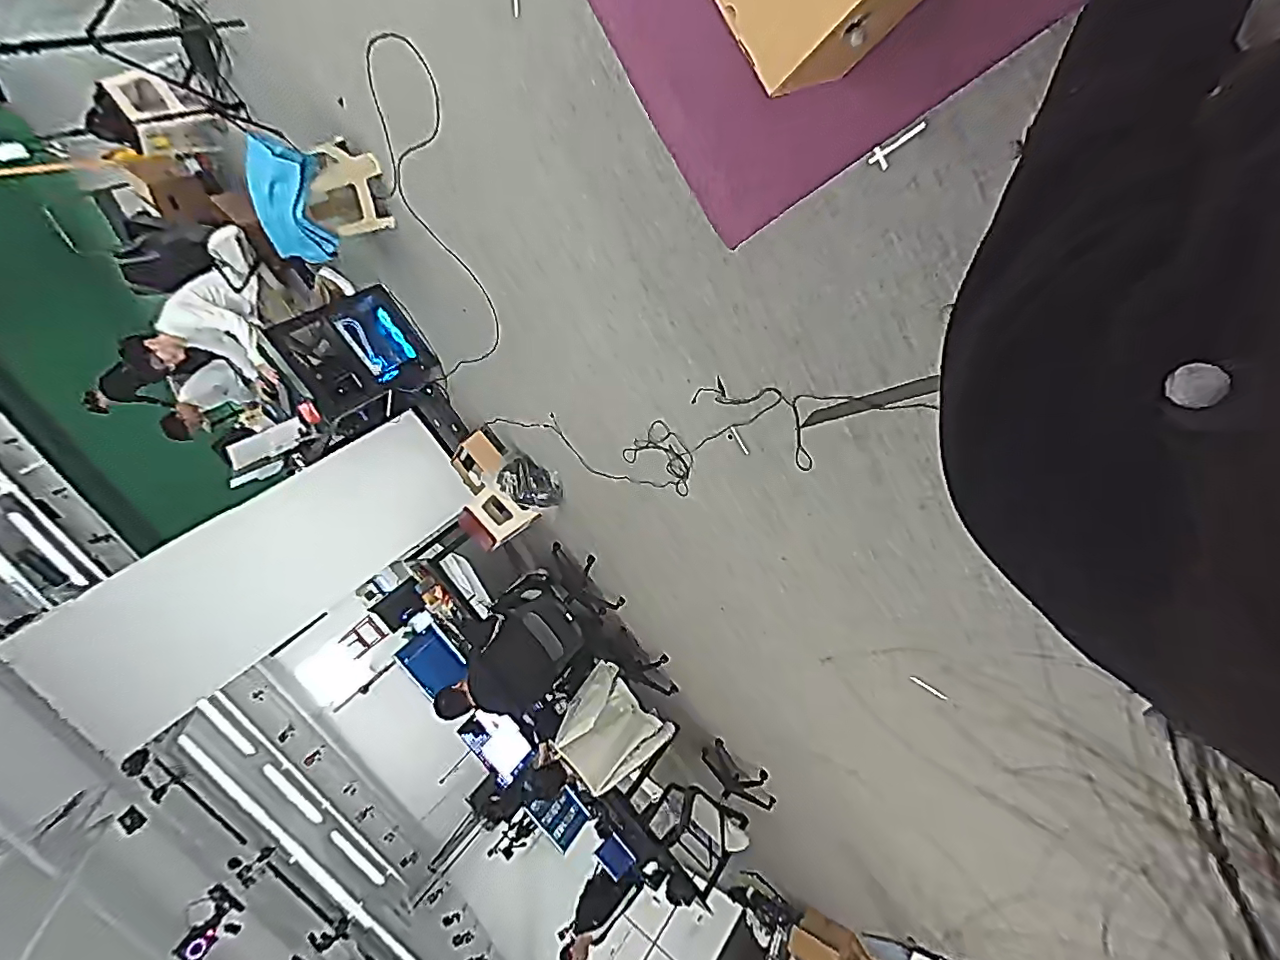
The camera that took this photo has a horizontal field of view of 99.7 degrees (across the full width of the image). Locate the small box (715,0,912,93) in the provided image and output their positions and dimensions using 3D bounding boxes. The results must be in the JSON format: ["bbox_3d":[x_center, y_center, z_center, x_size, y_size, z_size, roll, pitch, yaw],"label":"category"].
[{"bbox_3d":[0.180,-0.516,0.505,0.168,0.176,0.179,56,147,-10],"label":"small box"}]
